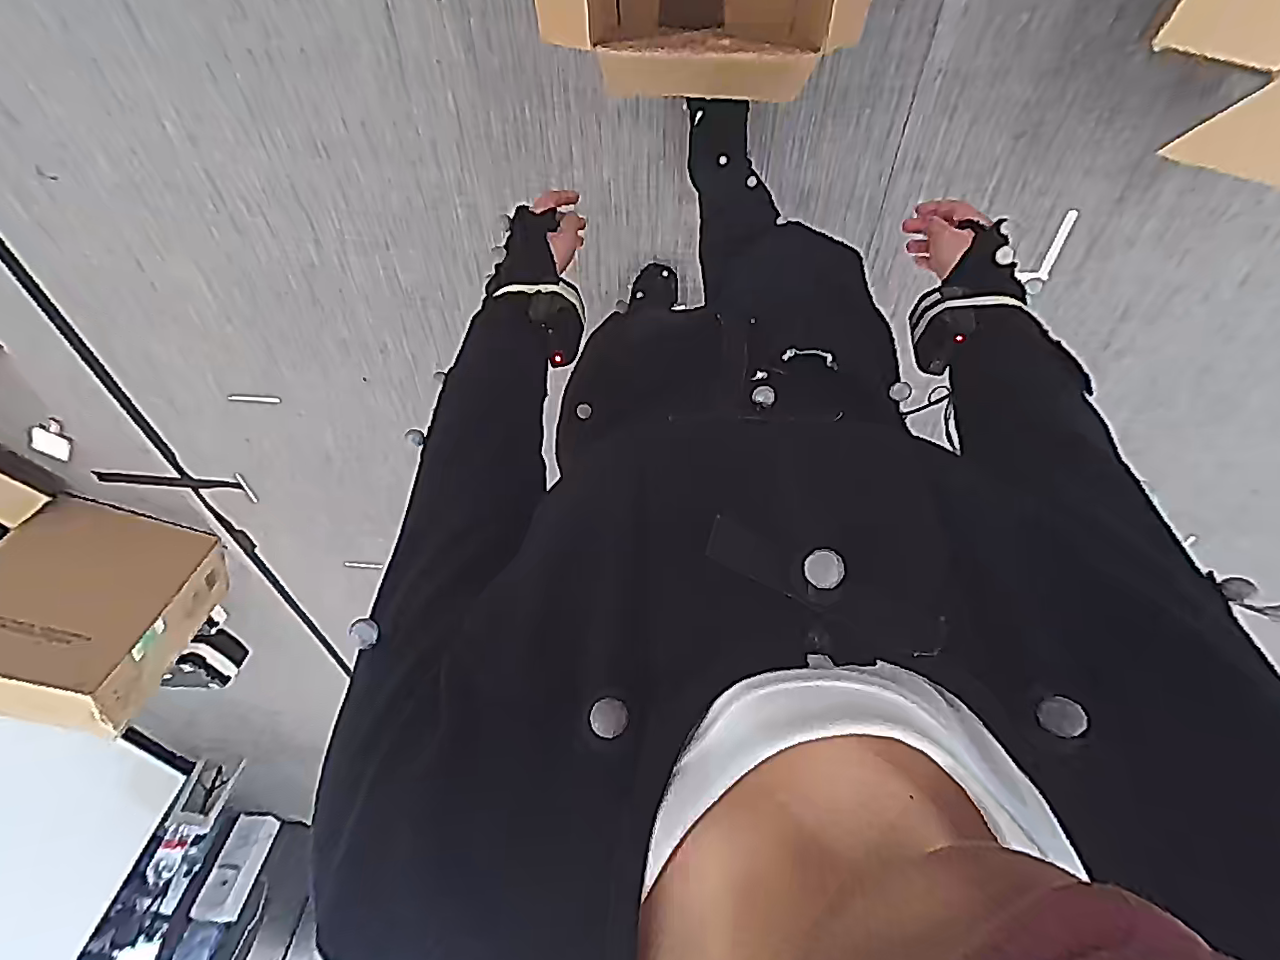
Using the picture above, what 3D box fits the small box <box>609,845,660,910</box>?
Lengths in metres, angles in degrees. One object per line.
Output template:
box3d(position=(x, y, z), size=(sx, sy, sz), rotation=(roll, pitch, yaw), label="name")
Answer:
box3d(position=(-0.018, 1.491, 2.032), size=(0.179, 0.176, 0.168), rotation=(3, 134, 2), label="small box")
